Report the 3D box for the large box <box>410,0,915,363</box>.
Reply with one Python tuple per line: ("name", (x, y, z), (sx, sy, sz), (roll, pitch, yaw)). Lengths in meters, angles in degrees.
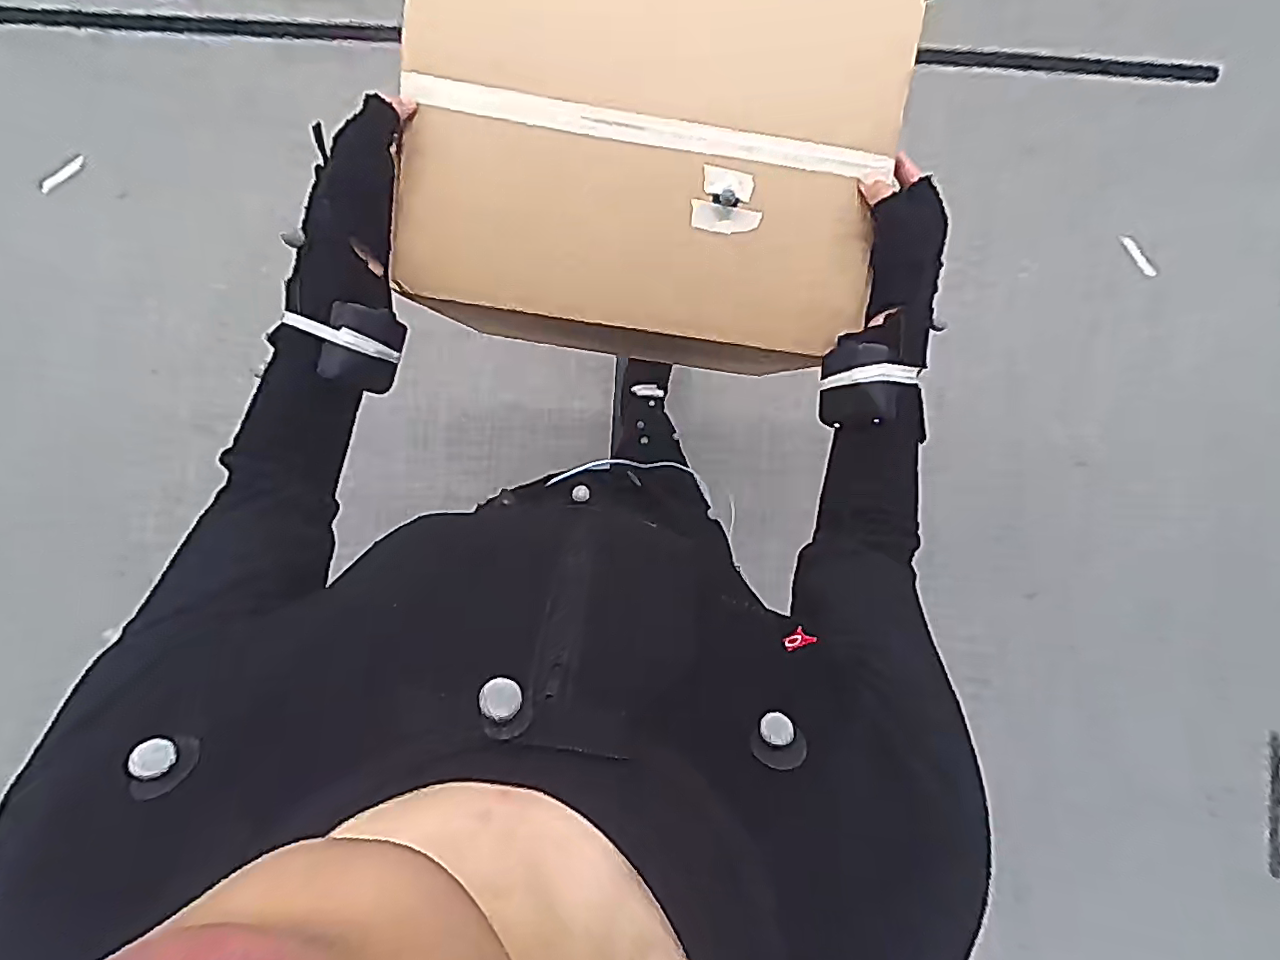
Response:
("large box", (0.006, -0.319, 0.603), (0.408, 0.320, 0.320), (8, 99, -5))
